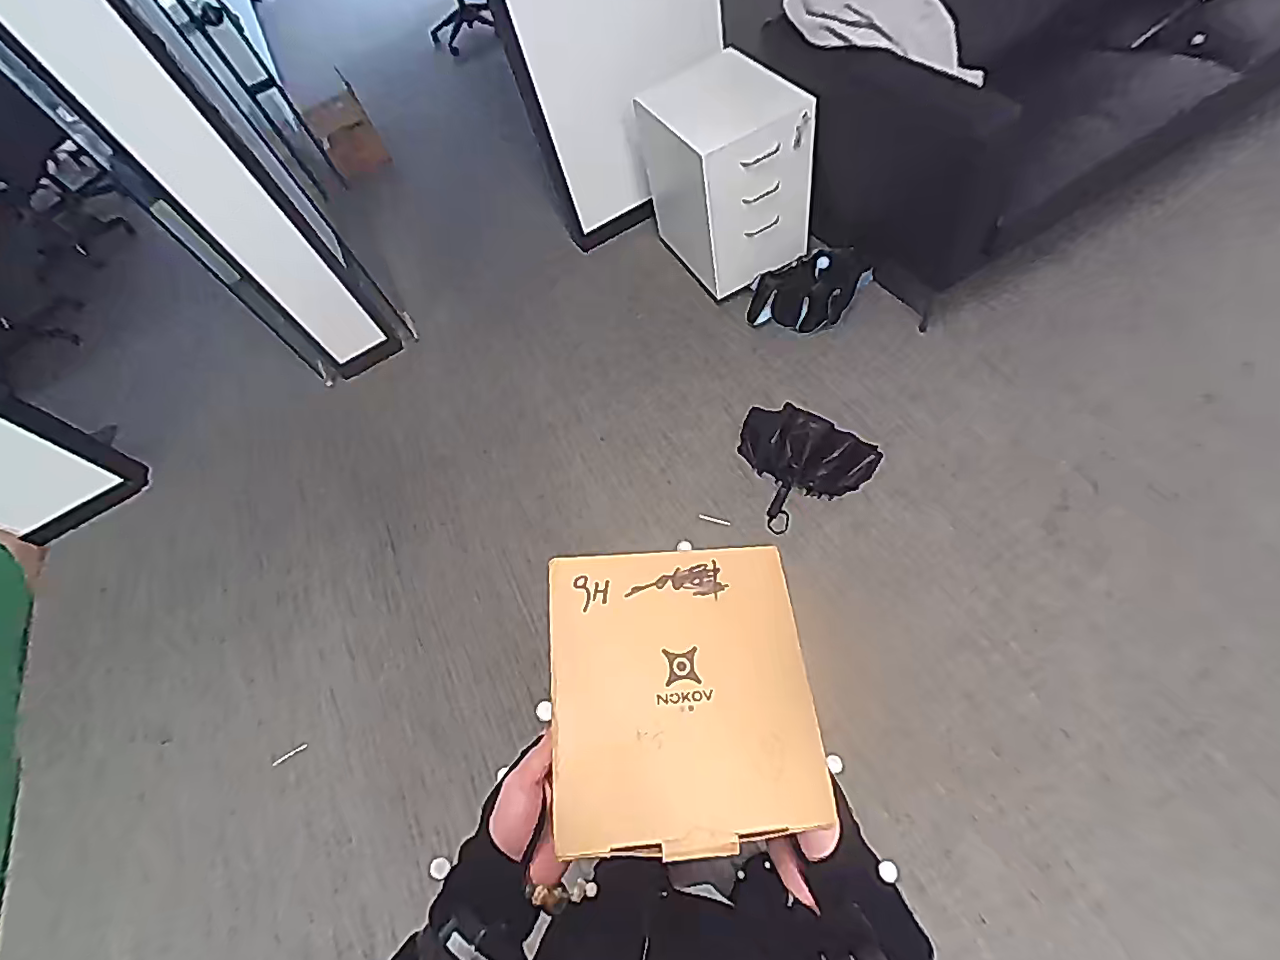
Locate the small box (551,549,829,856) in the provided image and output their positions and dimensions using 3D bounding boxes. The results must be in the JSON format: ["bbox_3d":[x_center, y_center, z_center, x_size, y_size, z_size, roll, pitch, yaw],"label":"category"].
[{"bbox_3d":[0.019,0.164,0.417,0.168,0.176,0.179,-1,64,-8],"label":"small box"}]
